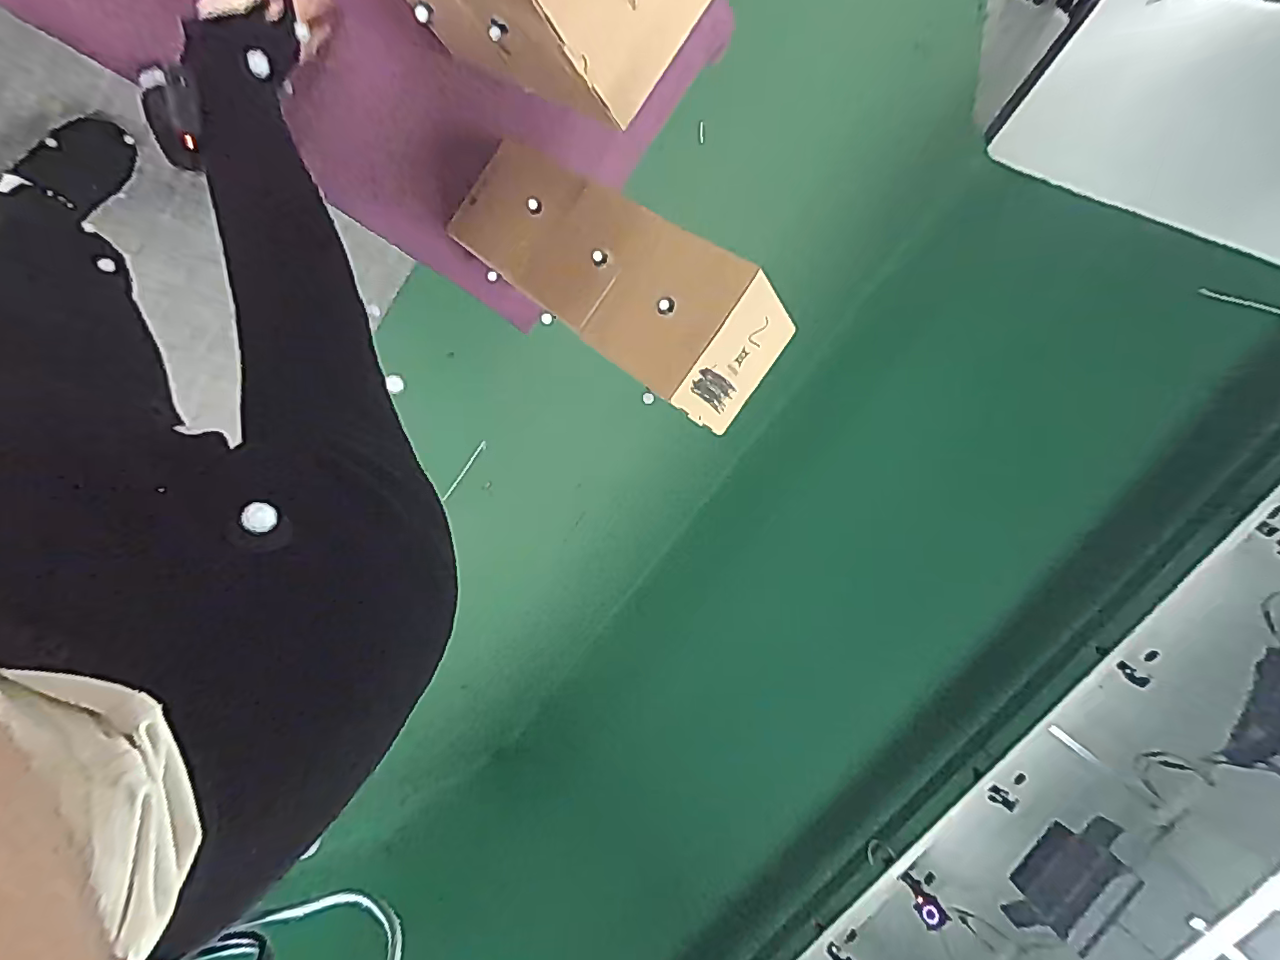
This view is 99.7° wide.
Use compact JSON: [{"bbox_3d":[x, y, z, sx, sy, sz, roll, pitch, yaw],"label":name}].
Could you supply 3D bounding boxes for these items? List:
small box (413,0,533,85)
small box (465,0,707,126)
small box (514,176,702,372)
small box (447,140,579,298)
[{"bbox_3d":[-0.164,-0.583,0.575,0.179,0.176,0.168,-51,154,7],"label":"small box"},{"bbox_3d":[-0.058,-0.487,0.499,0.179,0.176,0.168,-52,154,10],"label":"small box"},{"bbox_3d":[-0.047,-0.294,0.779,0.179,0.176,0.168,-52,152,7],"label":"small box"},{"bbox_3d":[-0.160,-0.389,0.849,0.168,0.176,0.179,-53,154,7],"label":"small box"}]
